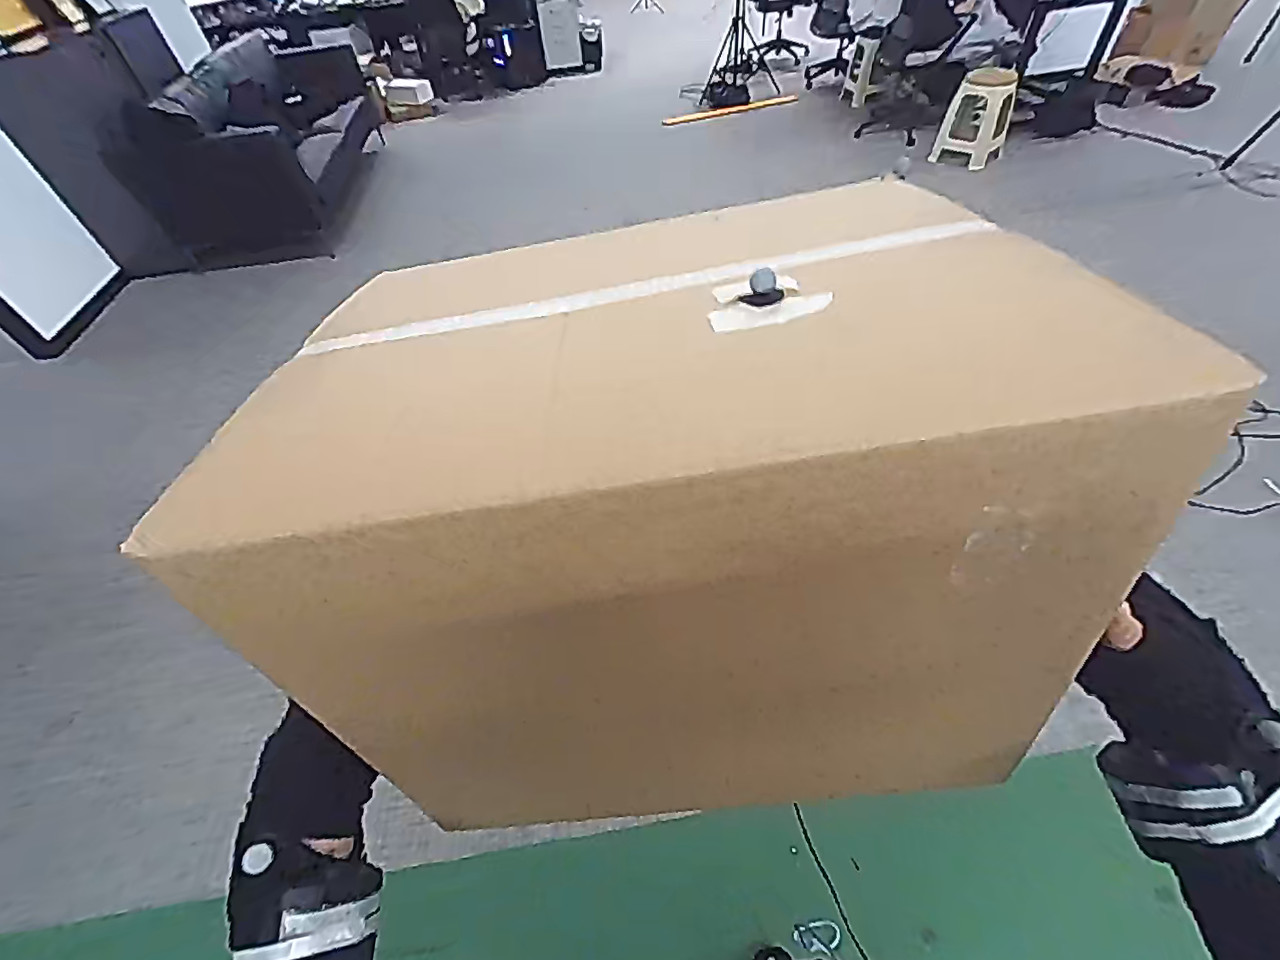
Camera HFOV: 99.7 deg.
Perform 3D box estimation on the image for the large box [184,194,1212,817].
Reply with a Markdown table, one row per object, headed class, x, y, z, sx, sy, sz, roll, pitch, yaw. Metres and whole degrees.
| class | x | y | z | sx | sy | sz | roll | pitch | yaw |
| --- | --- | --- | --- | --- | --- | --- | --- | --- | --- |
| large box | 0.027 | 0.017 | 0.411 | 0.408 | 0.320 | 0.320 | -8 | 40 | 5 |
